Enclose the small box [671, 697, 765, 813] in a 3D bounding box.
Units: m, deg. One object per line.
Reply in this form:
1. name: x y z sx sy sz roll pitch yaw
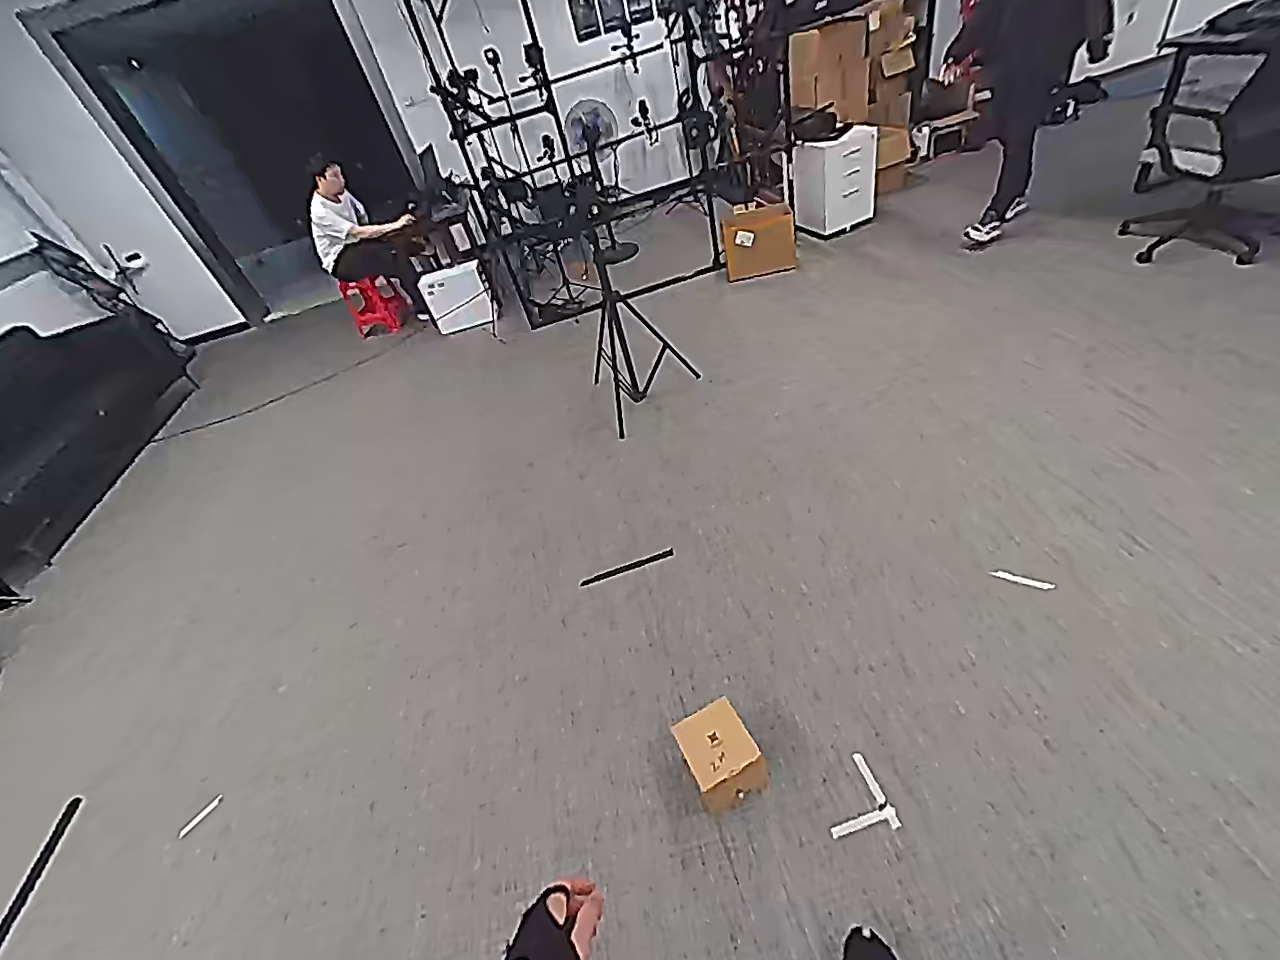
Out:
1. small box: 0.198 0.696 1.368 0.168 0.176 0.179 -26 41 -10
